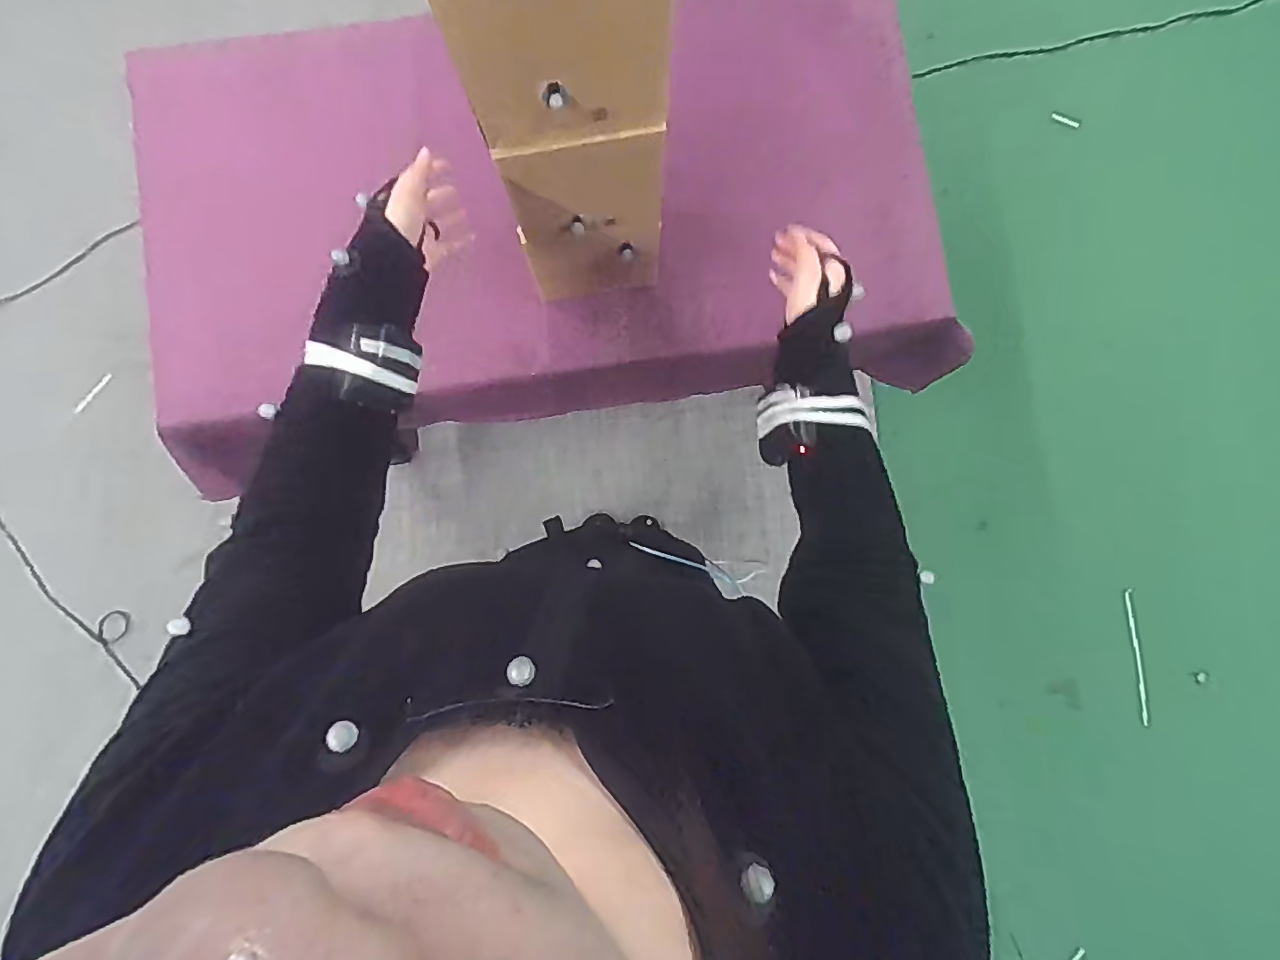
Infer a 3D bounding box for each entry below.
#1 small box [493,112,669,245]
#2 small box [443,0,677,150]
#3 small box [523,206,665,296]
[{"bbox_3d":[-0.066,-0.389,0.588,0.168,0.176,0.179,-9,87,0],"label":"small box"},{"bbox_3d":[-0.069,-0.406,0.426,0.168,0.176,0.179,-11,87,-1],"label":"small box"},{"bbox_3d":[-0.066,-0.374,0.750,0.179,0.176,0.168,-8,85,-1],"label":"small box"}]
